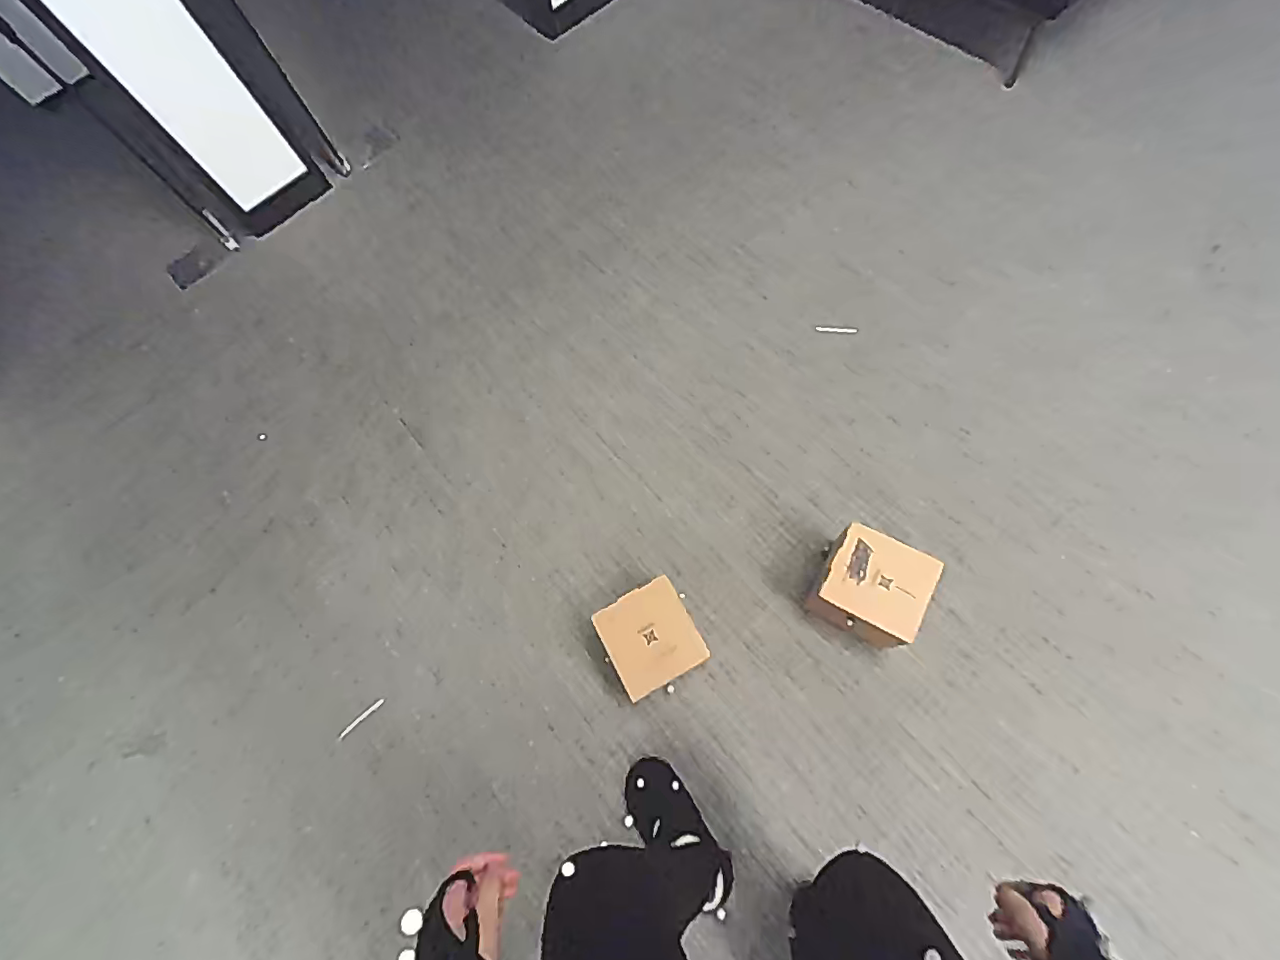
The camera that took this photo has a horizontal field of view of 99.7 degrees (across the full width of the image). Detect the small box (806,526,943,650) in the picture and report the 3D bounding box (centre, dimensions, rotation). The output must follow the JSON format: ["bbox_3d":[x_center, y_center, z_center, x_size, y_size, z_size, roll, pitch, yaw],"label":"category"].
[{"bbox_3d":[0.447,0.219,1.059,0.179,0.176,0.168,27,74,15],"label":"small box"}]

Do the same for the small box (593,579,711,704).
[{"bbox_3d":[0.027,0.324,1.067,0.168,0.176,0.179,-29,68,-5],"label":"small box"}]
